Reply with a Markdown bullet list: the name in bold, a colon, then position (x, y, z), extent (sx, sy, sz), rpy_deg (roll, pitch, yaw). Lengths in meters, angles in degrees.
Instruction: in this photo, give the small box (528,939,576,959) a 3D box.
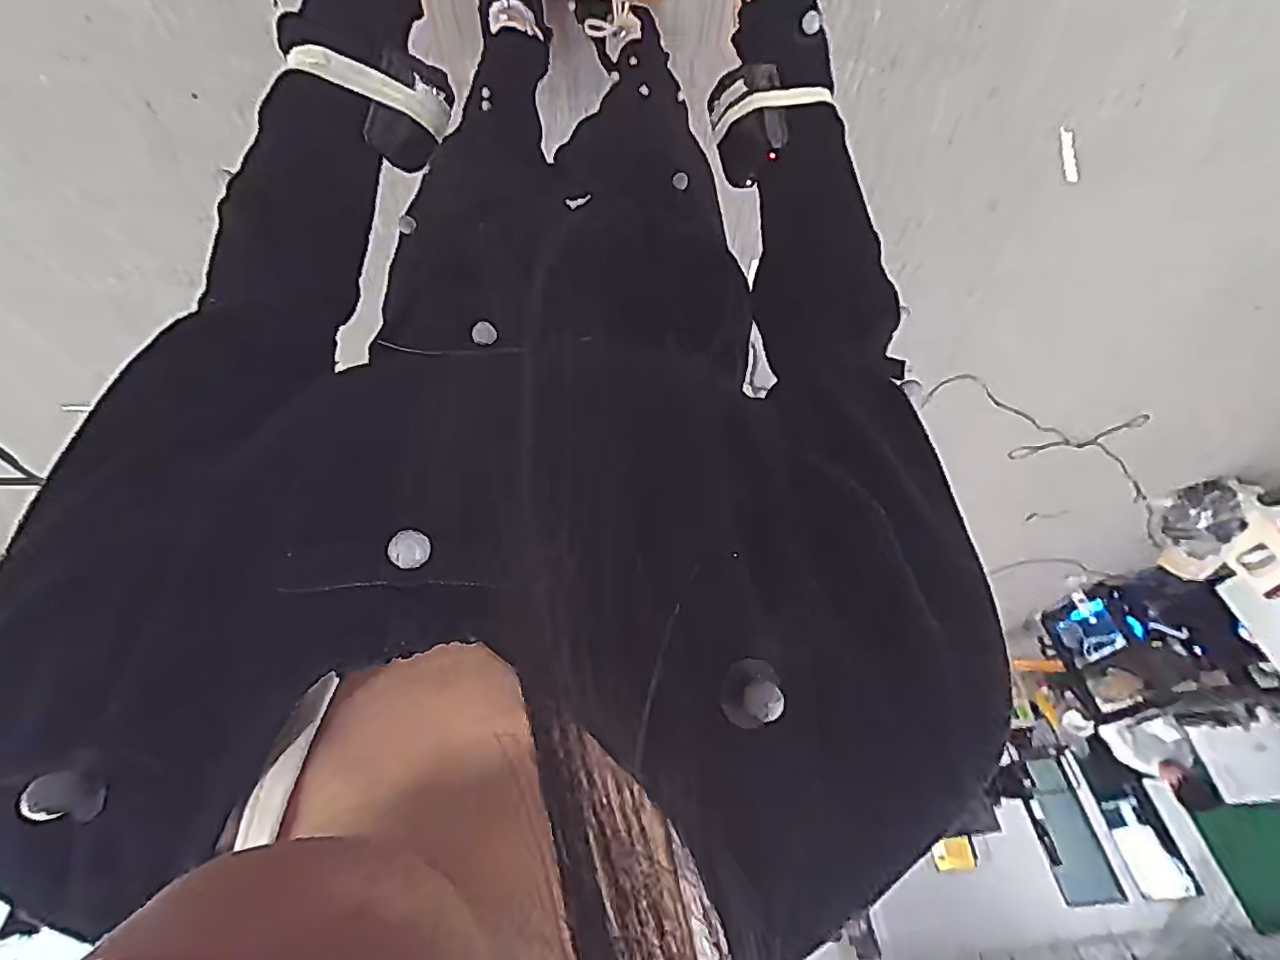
- **small box**: position (-0.307, 1.731, 1.891), extent (0.168, 0.176, 0.179), rpy_deg (0, 145, -7)
